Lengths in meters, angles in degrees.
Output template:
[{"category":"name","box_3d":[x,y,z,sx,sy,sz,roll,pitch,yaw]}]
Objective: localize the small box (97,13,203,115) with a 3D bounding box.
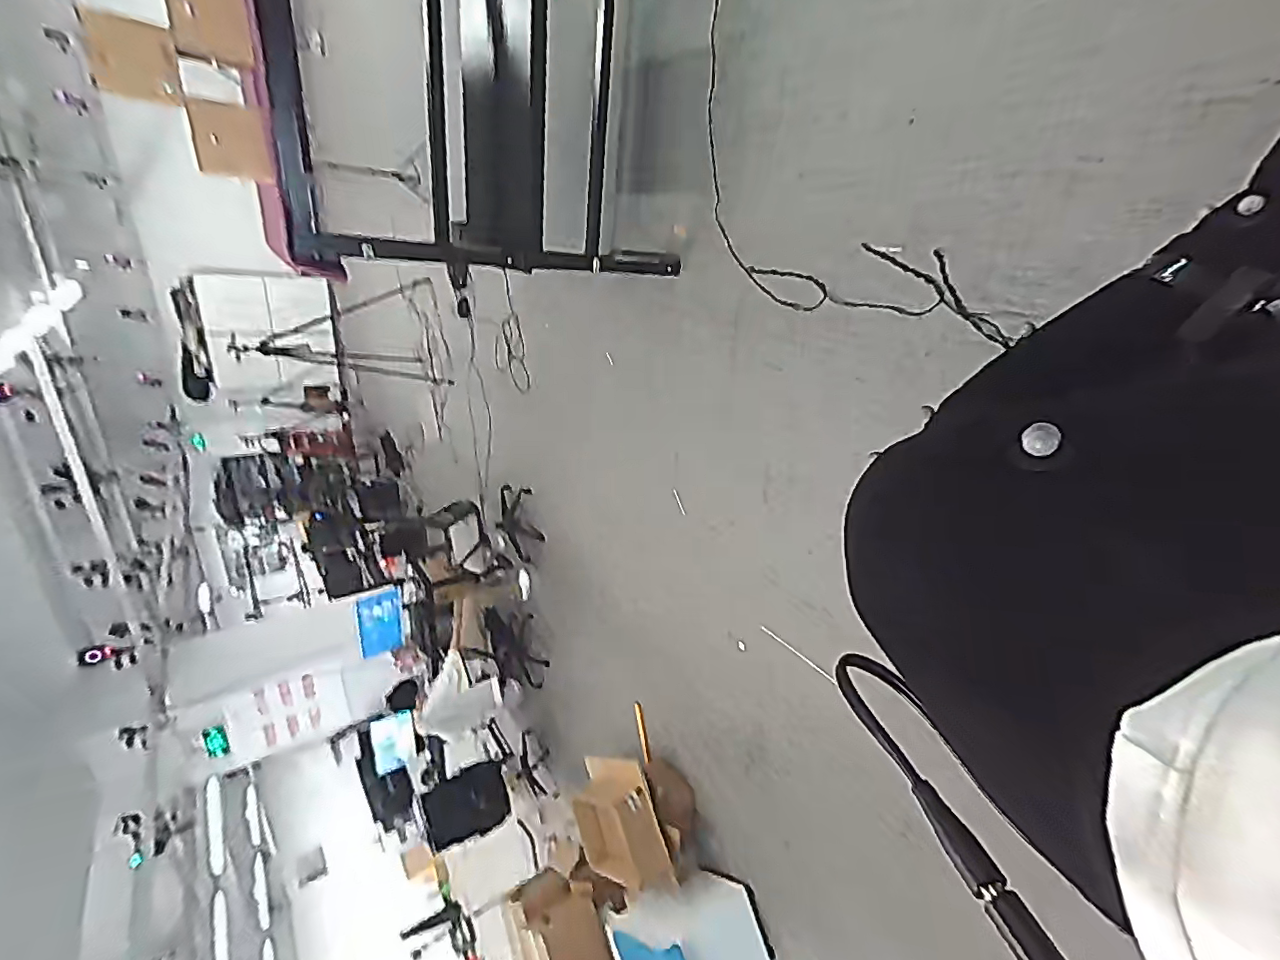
[{"category":"small box","box_3d":[-1.226,-1.042,1.369,0.179,0.176,0.168,36,127,46]}]

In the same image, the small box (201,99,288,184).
[{"category":"small box","box_3d":[-1.104,-0.937,1.515,0.168,0.176,0.179,30,123,47]}]

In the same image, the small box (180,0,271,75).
[{"category":"small box","box_3d":[-1.073,-1.177,1.400,0.168,0.176,0.179,34,126,46]}]
